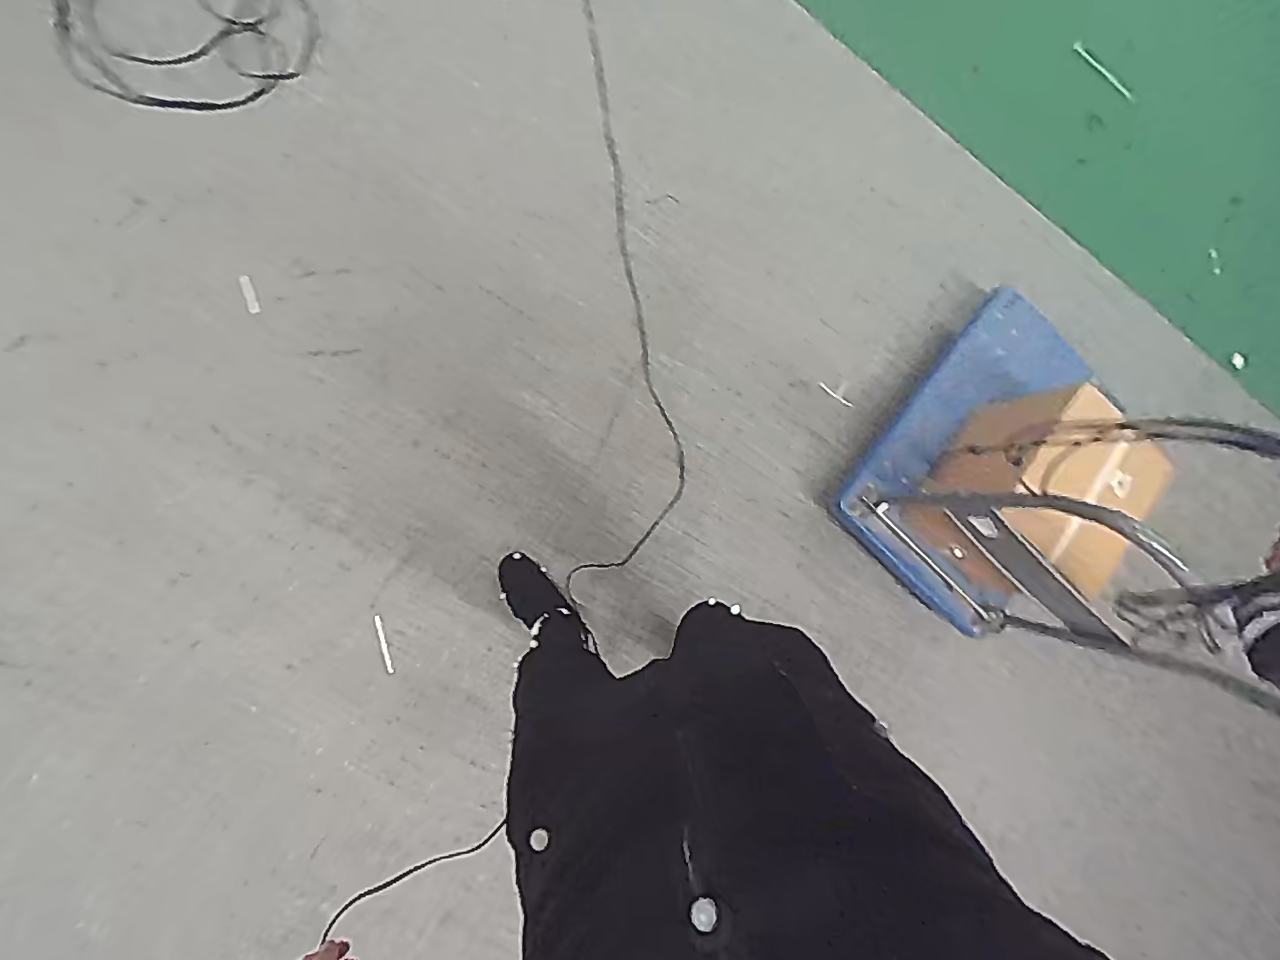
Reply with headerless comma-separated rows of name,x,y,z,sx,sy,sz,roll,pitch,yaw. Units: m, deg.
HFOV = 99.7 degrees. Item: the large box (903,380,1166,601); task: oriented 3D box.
large box,0.954,0.033,1.341,0.320,0.320,0.408,41,78,-7
